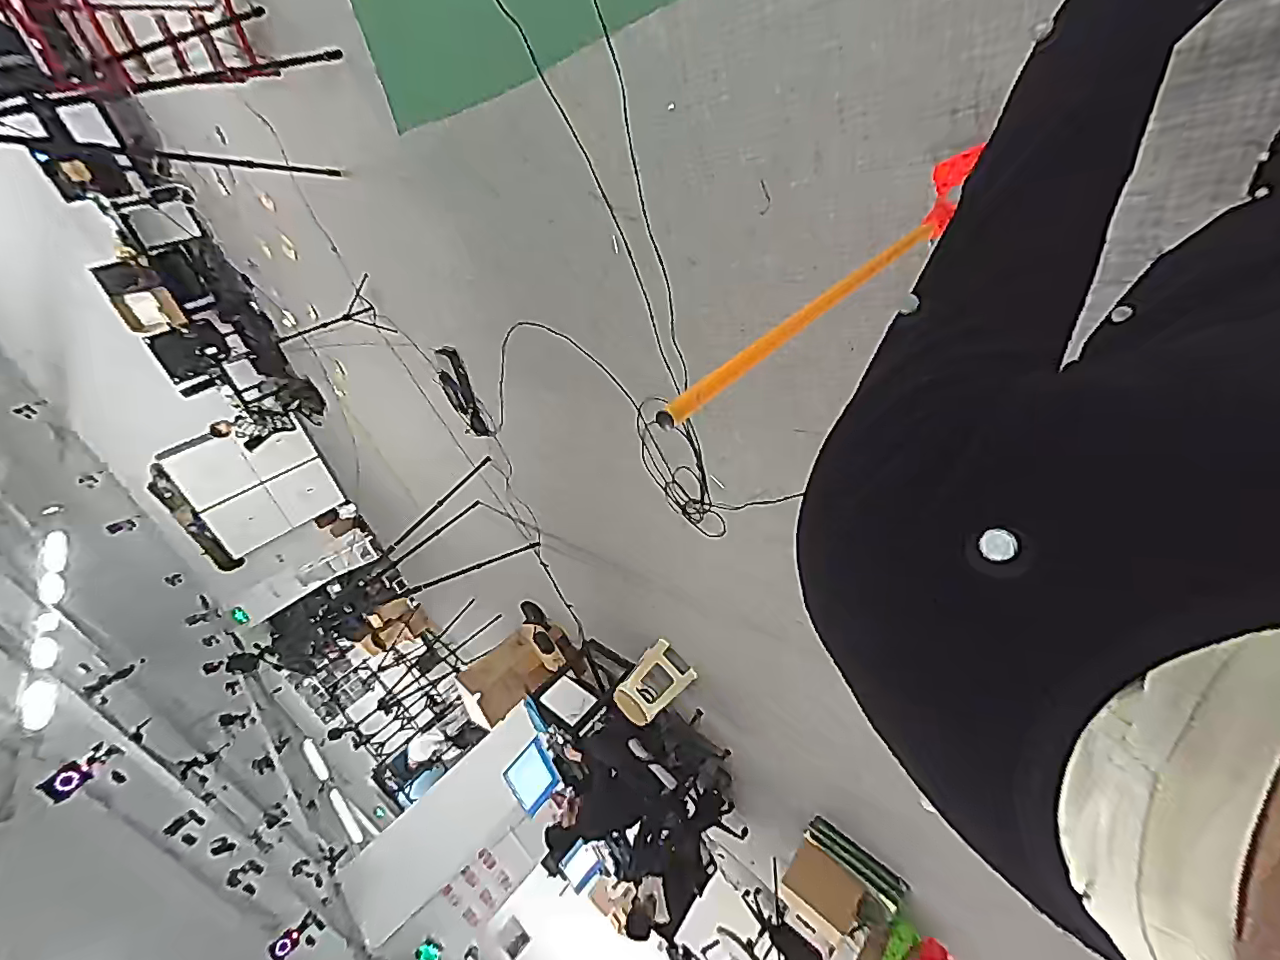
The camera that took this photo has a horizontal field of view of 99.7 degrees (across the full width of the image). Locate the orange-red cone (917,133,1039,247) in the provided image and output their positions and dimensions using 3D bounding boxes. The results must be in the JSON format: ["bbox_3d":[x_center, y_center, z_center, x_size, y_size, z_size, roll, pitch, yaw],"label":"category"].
[{"bbox_3d":[0.686,-0.580,1.165,0.199,0.360,0.198,0,119,52],"label":"orange-red cone"}]
